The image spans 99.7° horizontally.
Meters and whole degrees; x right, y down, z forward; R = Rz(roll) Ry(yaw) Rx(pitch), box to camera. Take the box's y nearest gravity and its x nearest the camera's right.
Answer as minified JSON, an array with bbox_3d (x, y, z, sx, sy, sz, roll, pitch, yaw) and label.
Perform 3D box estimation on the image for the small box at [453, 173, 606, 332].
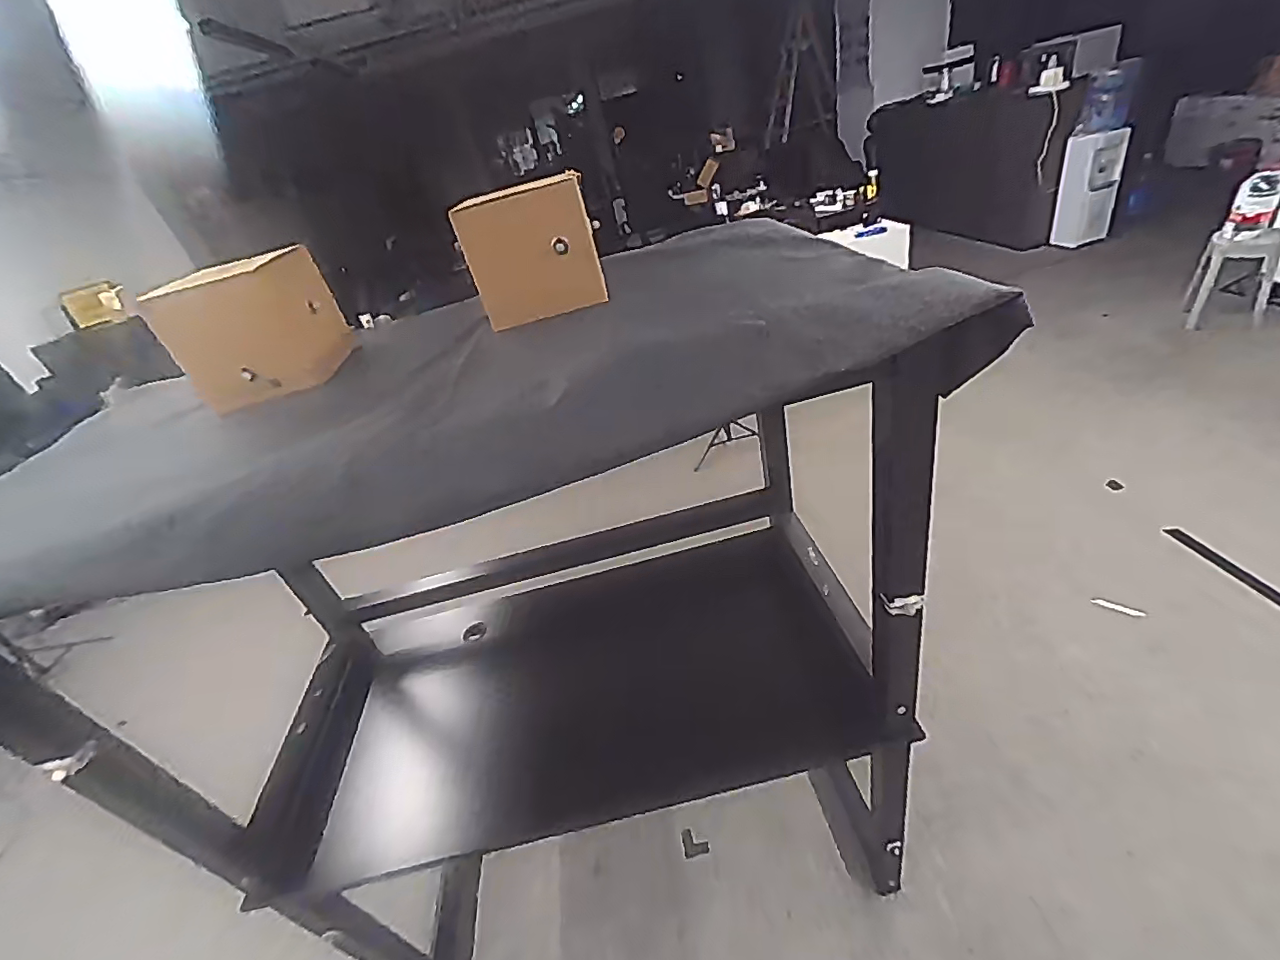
[{"bbox_3d":[-0.151,-0.342,0.812,0.179,0.176,0.168,-14,32,2],"label":"small box"}]
